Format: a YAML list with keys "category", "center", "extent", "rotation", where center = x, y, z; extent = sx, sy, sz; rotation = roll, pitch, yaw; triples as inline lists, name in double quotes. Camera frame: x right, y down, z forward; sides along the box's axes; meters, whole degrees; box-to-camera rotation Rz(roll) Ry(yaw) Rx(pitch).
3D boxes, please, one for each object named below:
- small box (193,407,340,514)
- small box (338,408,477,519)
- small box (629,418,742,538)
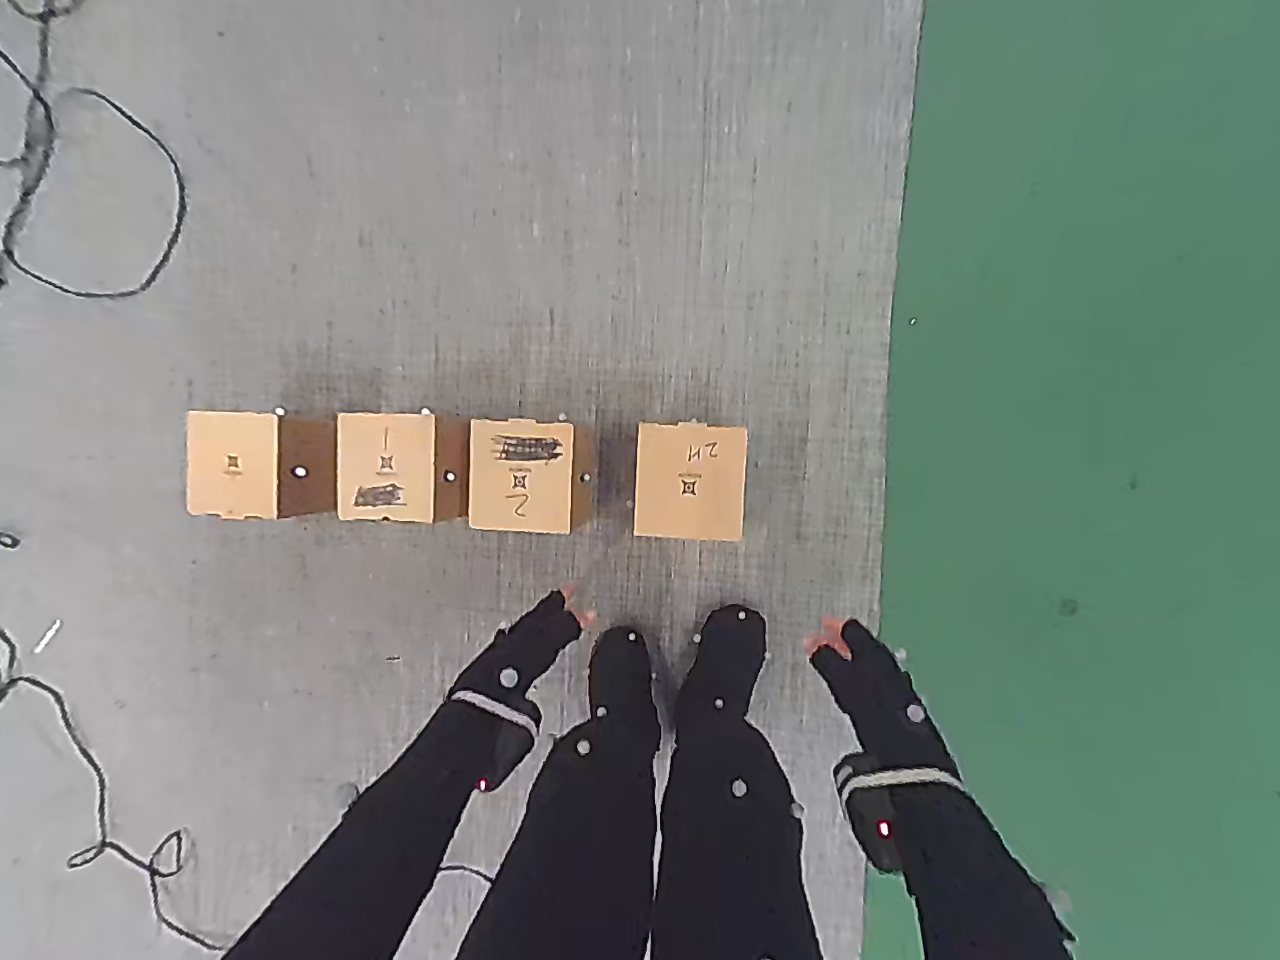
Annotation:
- category: "small box"
  center: [-0.664, -0.036, 0.986]
  extent: [0.168, 0.176, 0.179]
  rotation: [2, 93, 7]
- category: "small box"
  center: [-0.400, -0.030, 0.952]
  extent: [0.168, 0.176, 0.179]
  rotation: [2, 91, 7]
- category: "small box"
  center: [0.078, -0.008, 0.901]
  extent: [0.168, 0.176, 0.179]
  rotation: [3, 93, 6]
